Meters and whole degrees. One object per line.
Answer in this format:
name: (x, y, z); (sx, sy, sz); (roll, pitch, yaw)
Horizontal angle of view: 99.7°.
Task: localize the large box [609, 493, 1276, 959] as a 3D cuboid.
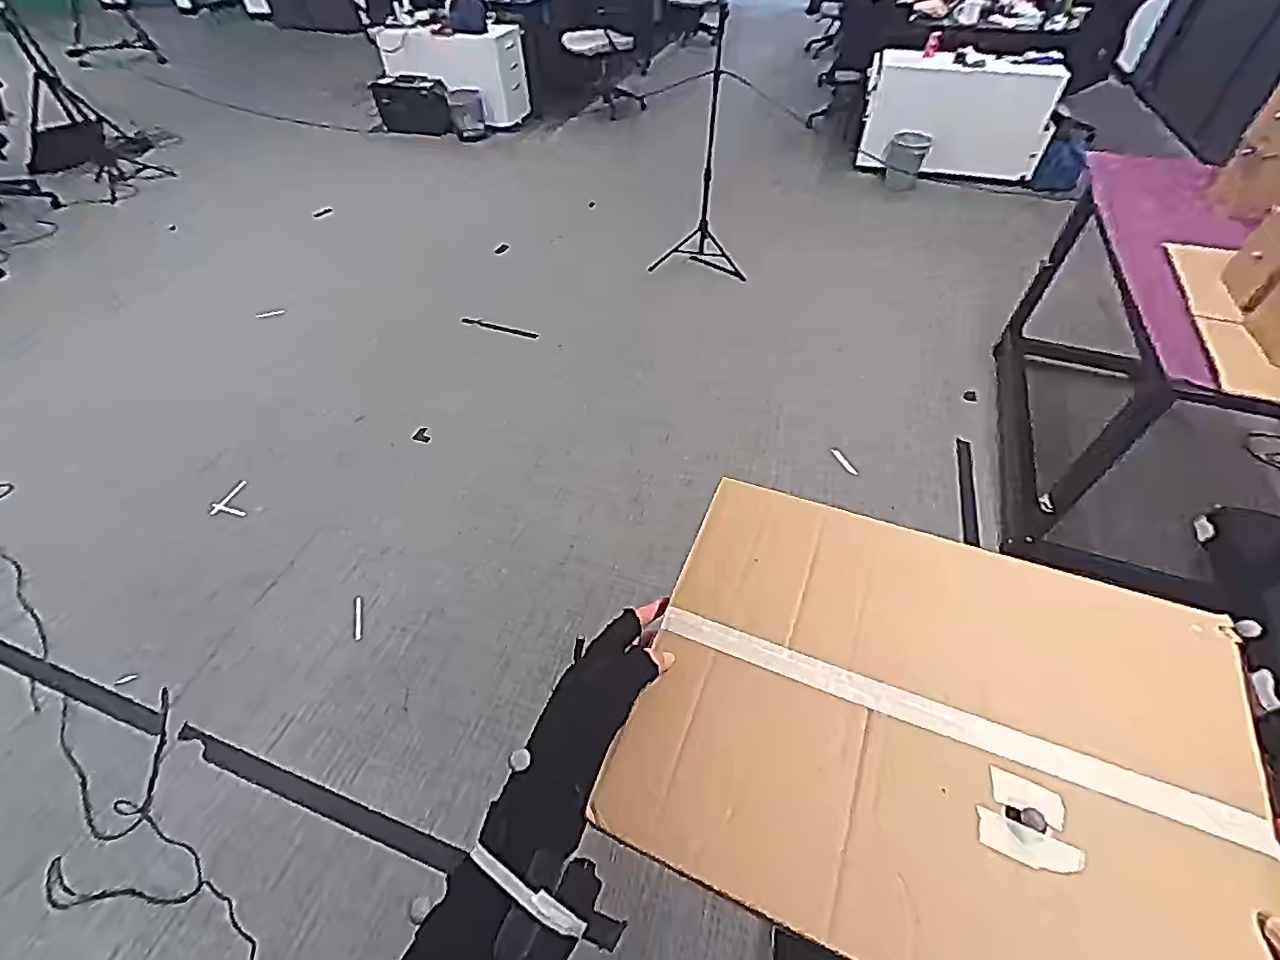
large box: (0.225, 0.266, 0.527); (0.408, 0.320, 0.320); (17, 58, 18)
